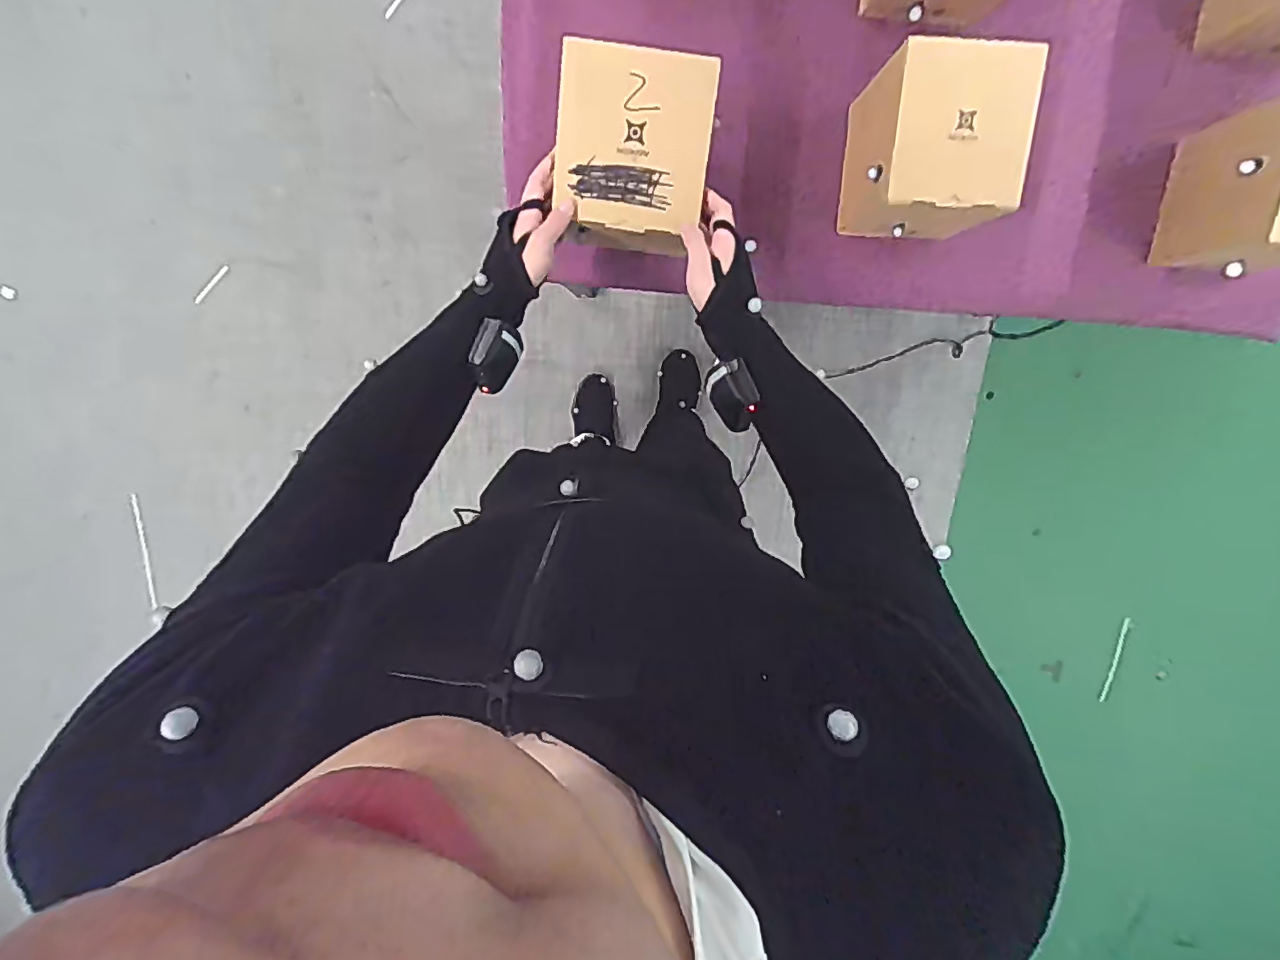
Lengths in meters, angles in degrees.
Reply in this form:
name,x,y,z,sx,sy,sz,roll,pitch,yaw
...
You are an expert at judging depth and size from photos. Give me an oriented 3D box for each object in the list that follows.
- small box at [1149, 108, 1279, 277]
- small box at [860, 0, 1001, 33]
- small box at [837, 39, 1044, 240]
name,x,y,z,sx,sy,sz,roll,pitch,yaw
small box,0.852,-0.384,0.728,0.168,0.176,0.179,5,103,0
small box,0.385,-0.692,0.650,0.168,0.176,0.179,4,105,-1
small box,0.377,-0.432,0.714,0.168,0.176,0.179,2,104,-2
